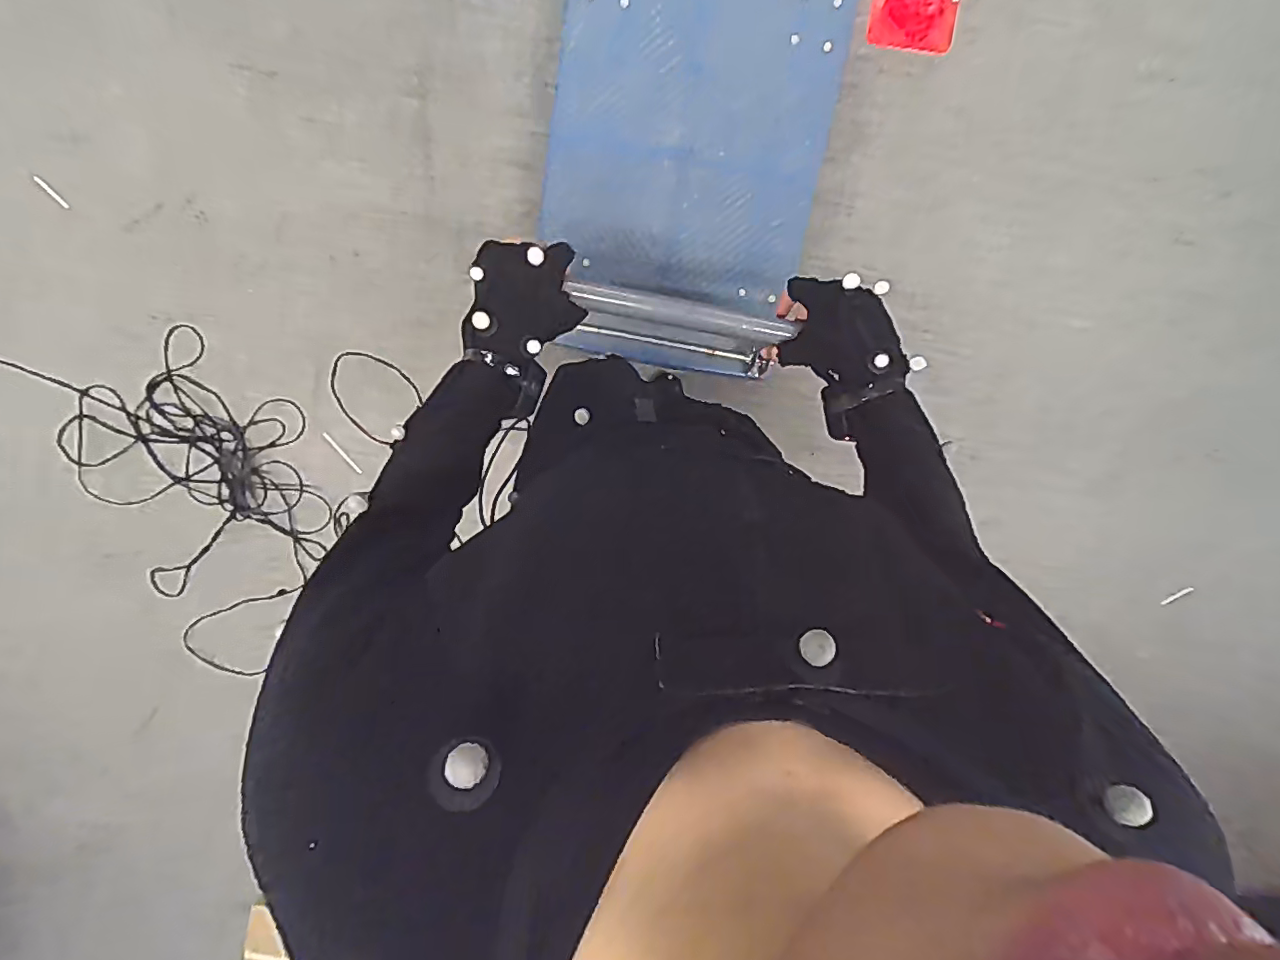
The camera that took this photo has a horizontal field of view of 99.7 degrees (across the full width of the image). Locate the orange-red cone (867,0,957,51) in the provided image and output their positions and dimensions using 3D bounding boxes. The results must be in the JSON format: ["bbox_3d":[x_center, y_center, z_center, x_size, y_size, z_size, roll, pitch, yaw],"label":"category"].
[{"bbox_3d":[0.634,-1.076,1.080,0.199,0.360,0.198,8,102,-1],"label":"orange-red cone"}]
